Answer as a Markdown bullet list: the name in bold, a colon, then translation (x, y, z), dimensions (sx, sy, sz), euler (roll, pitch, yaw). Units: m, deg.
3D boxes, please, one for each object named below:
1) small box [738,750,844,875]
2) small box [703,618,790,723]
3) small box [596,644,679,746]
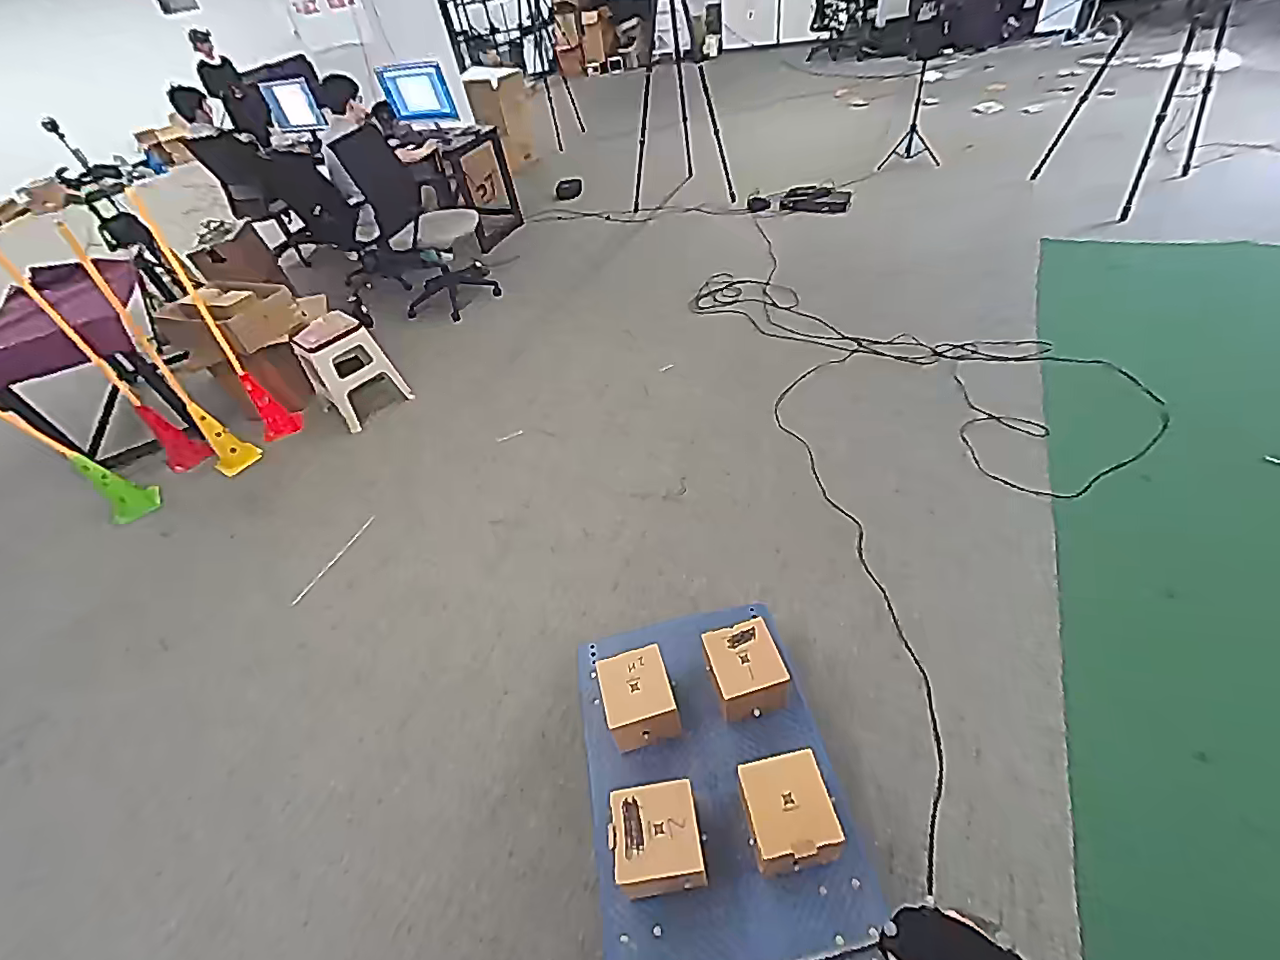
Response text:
- **small box**: translation (0.309, 0.707, 1.150), dimensions (0.168, 0.176, 0.179), euler (-12, 46, -2)
- **small box**: translation (0.264, 0.485, 1.373), dimensions (0.168, 0.176, 0.179), euler (-15, 46, -4)
- **small box**: translation (-0.005, 0.548, 1.361), dimensions (0.168, 0.176, 0.179), euler (-14, 45, -5)
